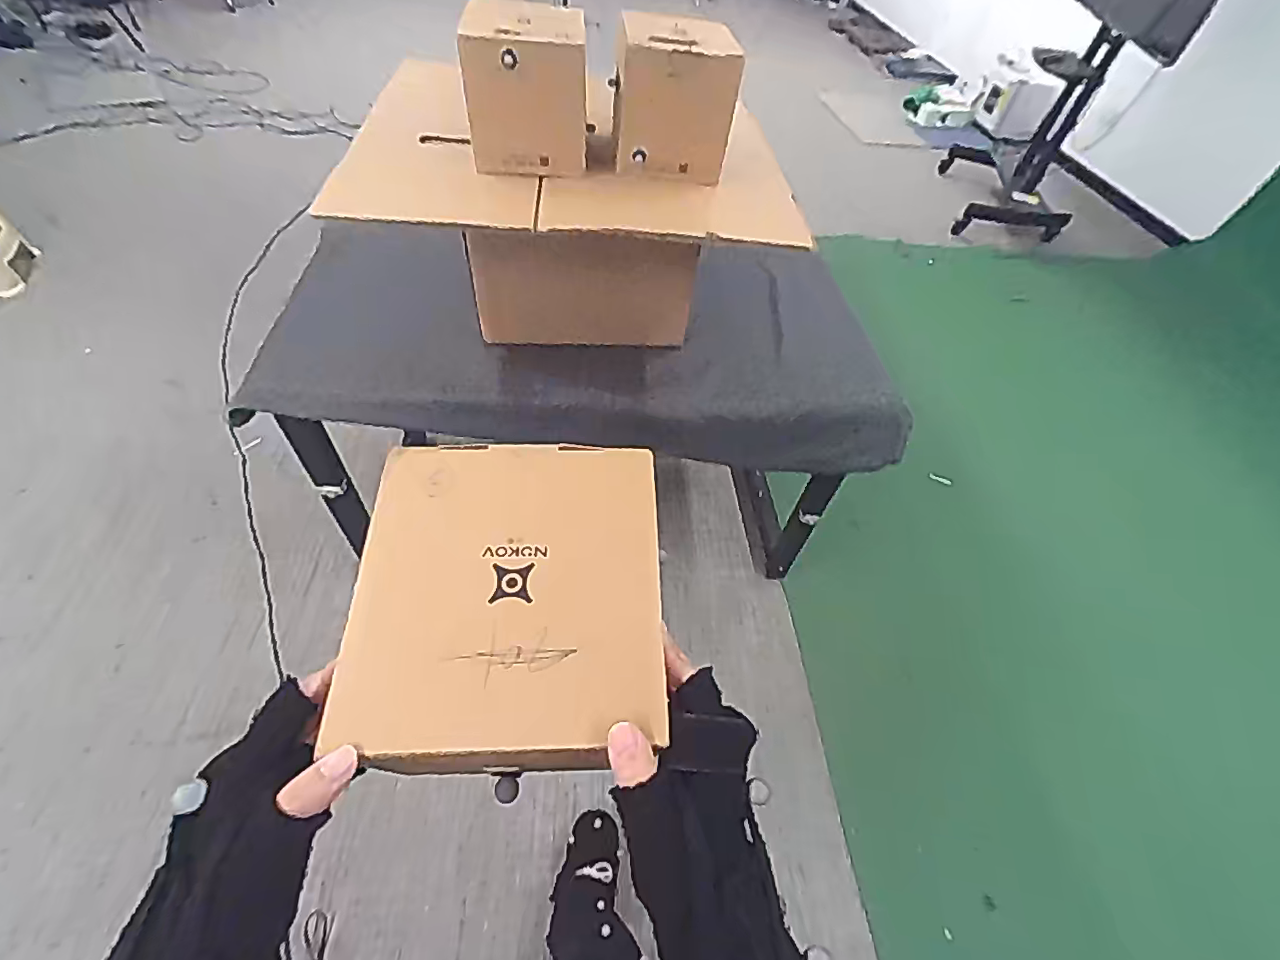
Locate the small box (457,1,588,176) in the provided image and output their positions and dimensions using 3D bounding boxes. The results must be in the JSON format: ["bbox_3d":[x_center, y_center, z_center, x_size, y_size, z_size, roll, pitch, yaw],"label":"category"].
[{"bbox_3d":[-0.162,-0.580,0.806,0.168,0.176,0.179,-1,52,-5],"label":"small box"}]

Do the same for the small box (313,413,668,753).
[{"bbox_3d":[-0.075,0.076,0.360,0.168,0.176,0.179,0,59,-4],"label":"small box"}]
